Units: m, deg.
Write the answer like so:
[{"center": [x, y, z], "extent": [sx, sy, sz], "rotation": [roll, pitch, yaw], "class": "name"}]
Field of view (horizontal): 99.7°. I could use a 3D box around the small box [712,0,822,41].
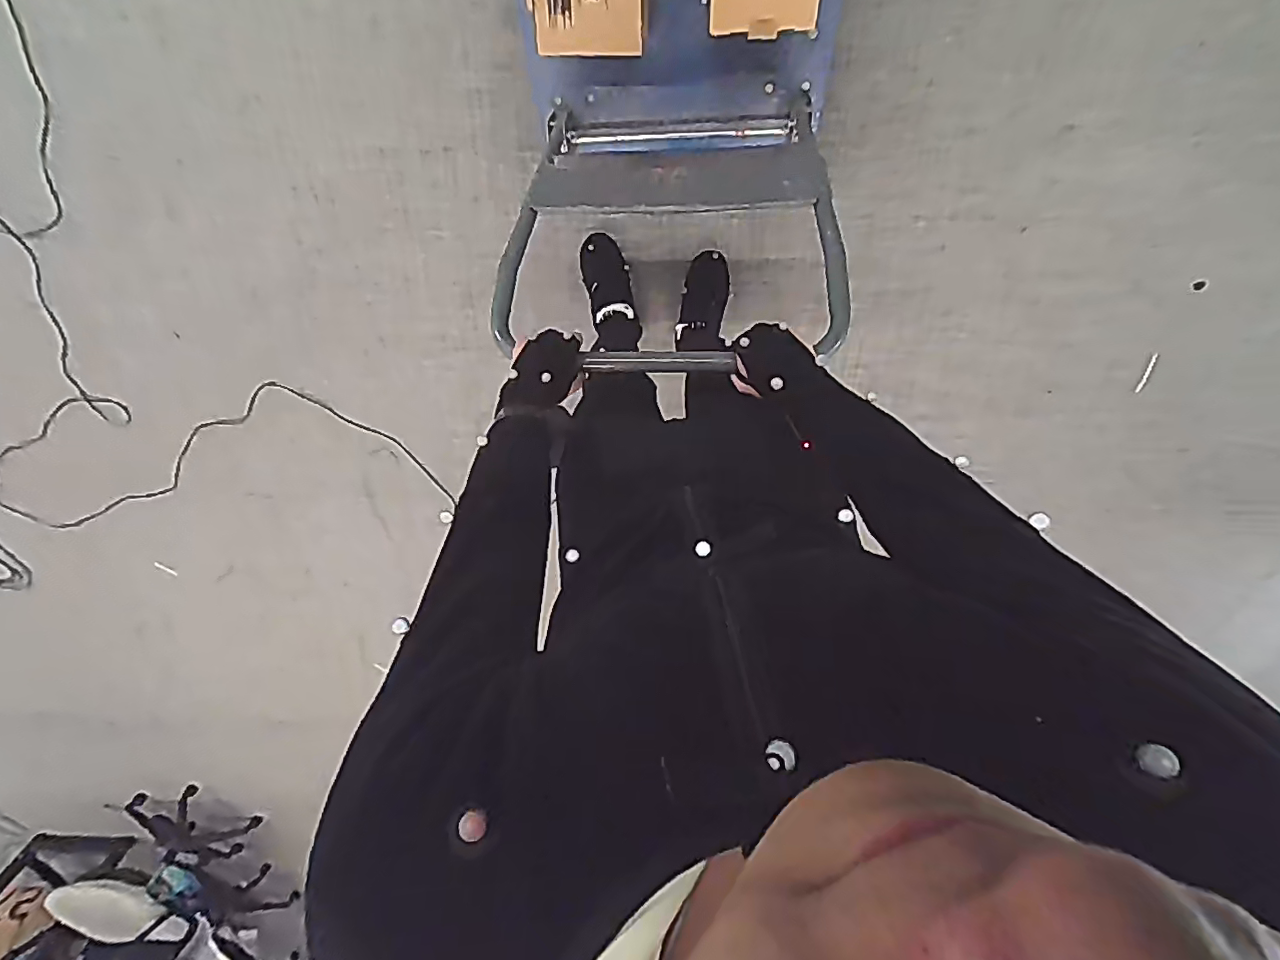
[{"center": [0.200, -0.820, 0.847], "extent": [0.168, 0.176, 0.179], "rotation": [2, 141, 6], "class": "small box"}]
